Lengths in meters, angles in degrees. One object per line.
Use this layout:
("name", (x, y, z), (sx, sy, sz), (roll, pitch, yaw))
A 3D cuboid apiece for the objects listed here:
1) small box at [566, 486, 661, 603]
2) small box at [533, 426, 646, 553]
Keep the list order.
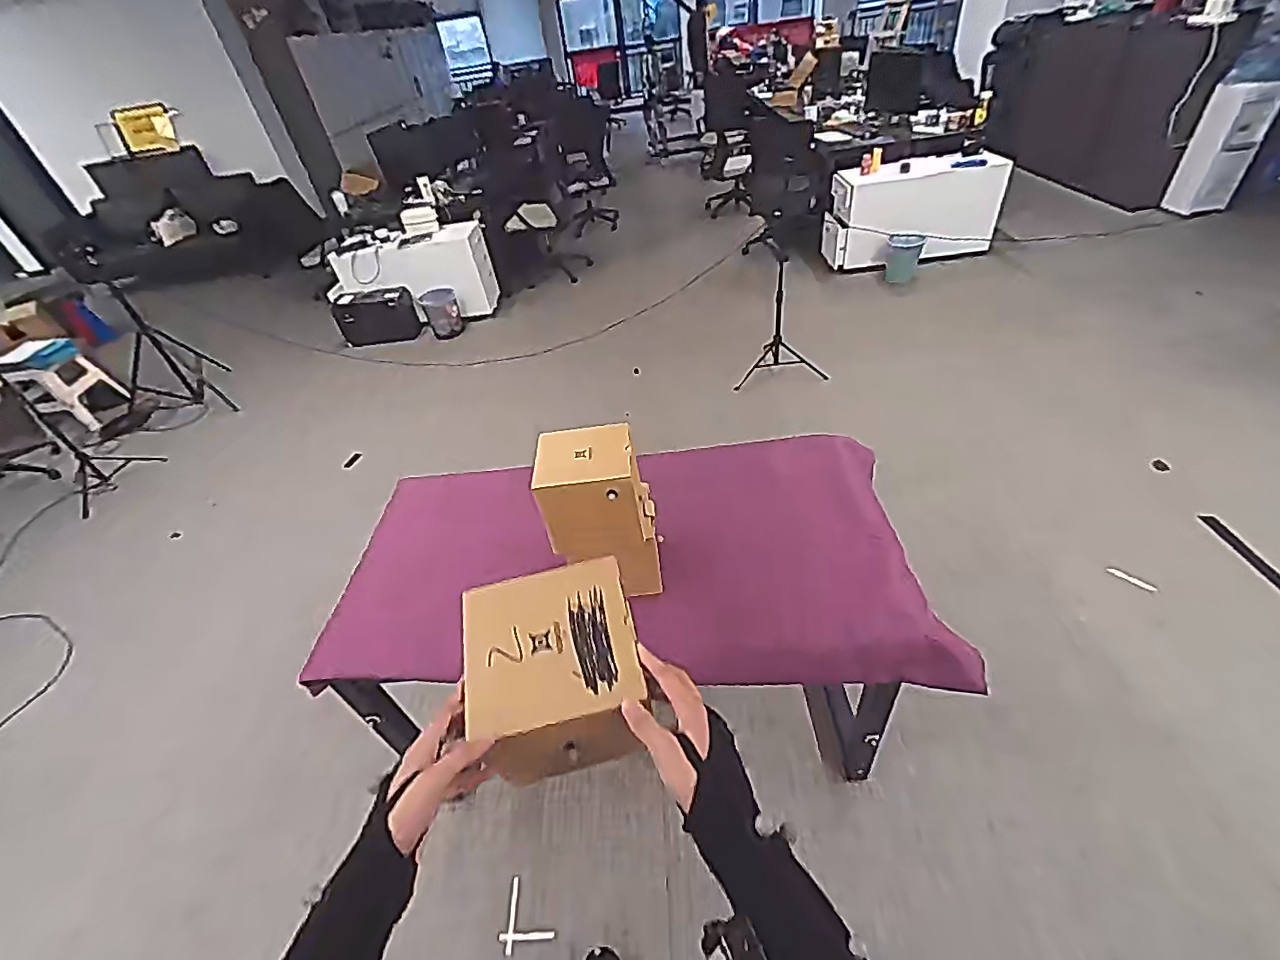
("small box", (-0.049, 0.136, 1.126), (0.179, 0.176, 0.168), (-7, 39, 2))
("small box", (-0.087, 0.021, 1.015), (0.179, 0.176, 0.168), (-7, 40, 2))
